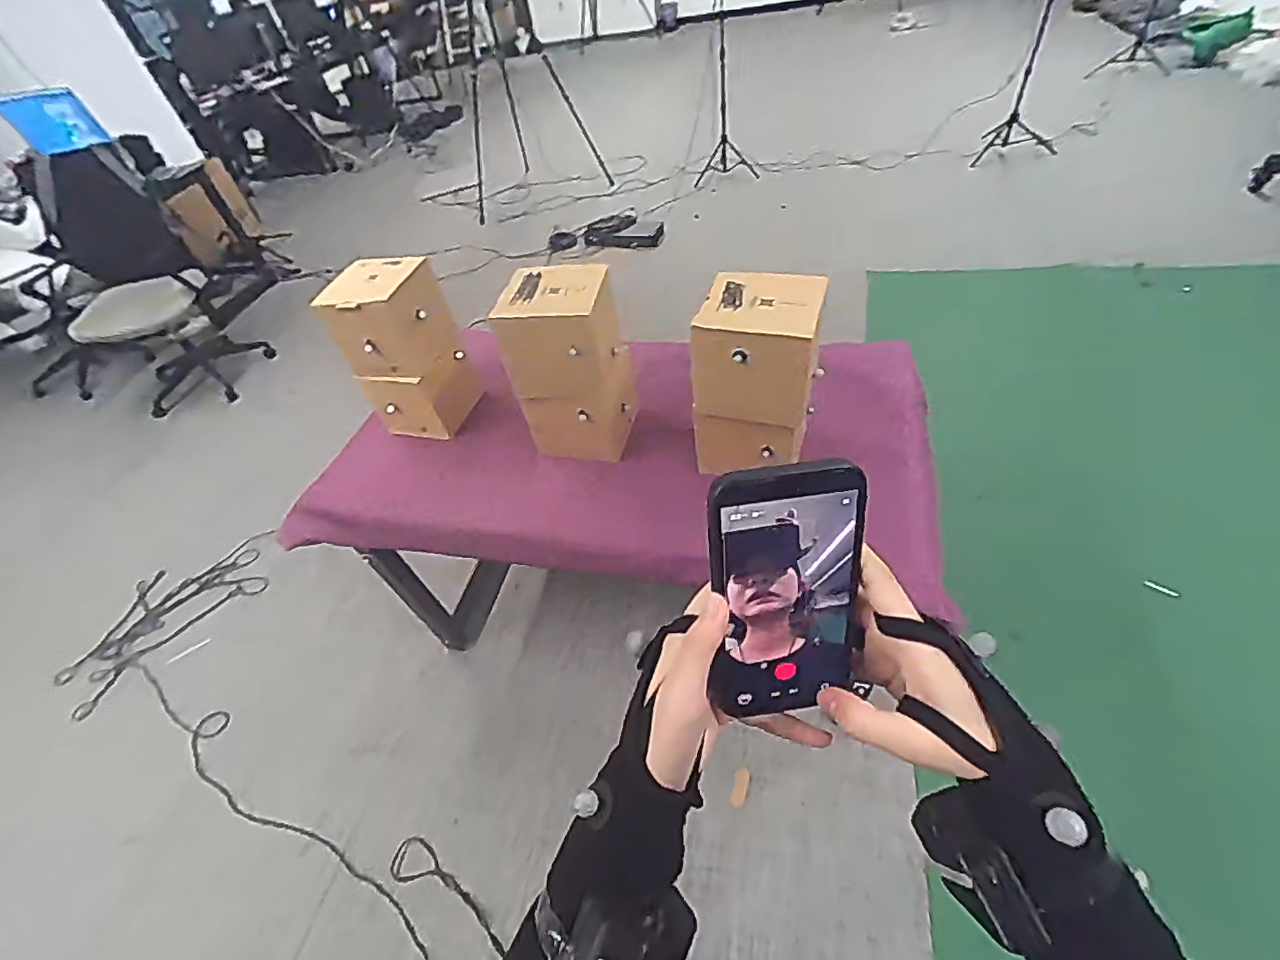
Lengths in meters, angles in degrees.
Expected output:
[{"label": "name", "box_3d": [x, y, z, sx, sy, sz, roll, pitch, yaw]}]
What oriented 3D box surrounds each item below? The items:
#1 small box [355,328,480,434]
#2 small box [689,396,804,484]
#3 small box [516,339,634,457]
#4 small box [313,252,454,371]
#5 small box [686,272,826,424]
[{"label": "small box", "box_3d": [-0.486, -0.223, 1.216, 0.168, 0.176, 0.179, 7, 50, 16]}, {"label": "small box", "box_3d": [0.202, -0.114, 0.994, 0.179, 0.176, 0.168, 12, 51, 20]}, {"label": "small box", "box_3d": [-0.119, -0.164, 1.095, 0.179, 0.176, 0.168, 7, 50, 16]}, {"label": "small box", "box_3d": [-0.506, -0.338, 1.100, 0.168, 0.176, 0.179, 4, 50, 12]}, {"label": "small box", "box_3d": [0.185, -0.210, 0.862, 0.179, 0.176, 0.168, 12, 51, 19]}]
